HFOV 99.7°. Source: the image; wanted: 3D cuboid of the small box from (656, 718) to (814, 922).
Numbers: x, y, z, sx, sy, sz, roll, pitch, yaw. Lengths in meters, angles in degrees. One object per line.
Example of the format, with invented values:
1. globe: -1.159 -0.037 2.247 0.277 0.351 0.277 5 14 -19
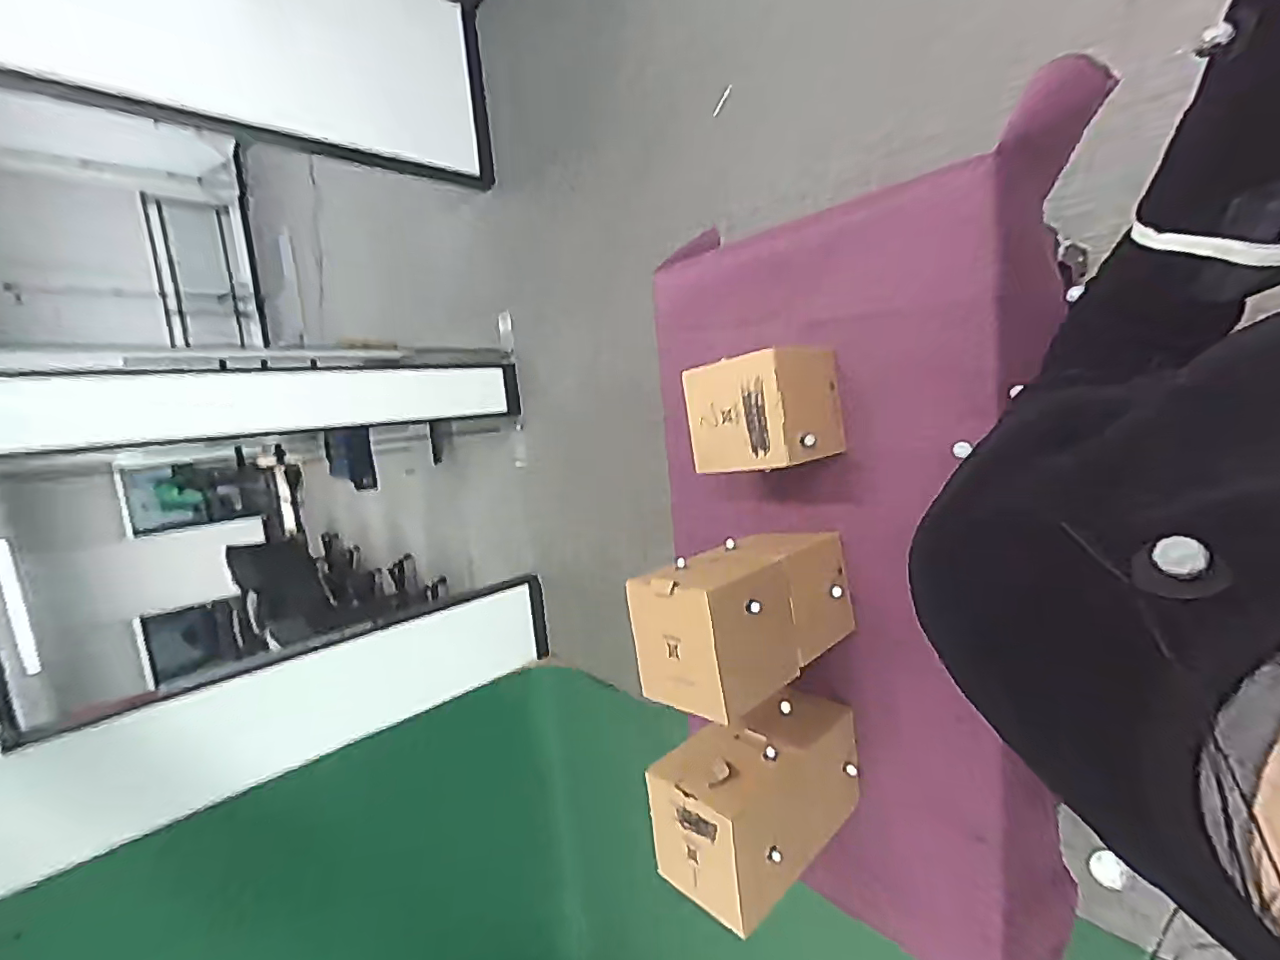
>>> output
1. small box: 0.148 0.499 0.831 0.168 0.176 0.179 0 100 48

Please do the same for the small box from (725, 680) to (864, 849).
1. small box: 0.269 0.474 0.939 0.168 0.176 0.179 0 99 49

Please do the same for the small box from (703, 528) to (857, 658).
1. small box: 0.234 0.179 0.908 0.179 0.176 0.168 -8 94 48

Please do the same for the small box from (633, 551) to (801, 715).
1. small box: 0.116 0.208 0.799 0.168 0.176 0.179 -5 96 50
